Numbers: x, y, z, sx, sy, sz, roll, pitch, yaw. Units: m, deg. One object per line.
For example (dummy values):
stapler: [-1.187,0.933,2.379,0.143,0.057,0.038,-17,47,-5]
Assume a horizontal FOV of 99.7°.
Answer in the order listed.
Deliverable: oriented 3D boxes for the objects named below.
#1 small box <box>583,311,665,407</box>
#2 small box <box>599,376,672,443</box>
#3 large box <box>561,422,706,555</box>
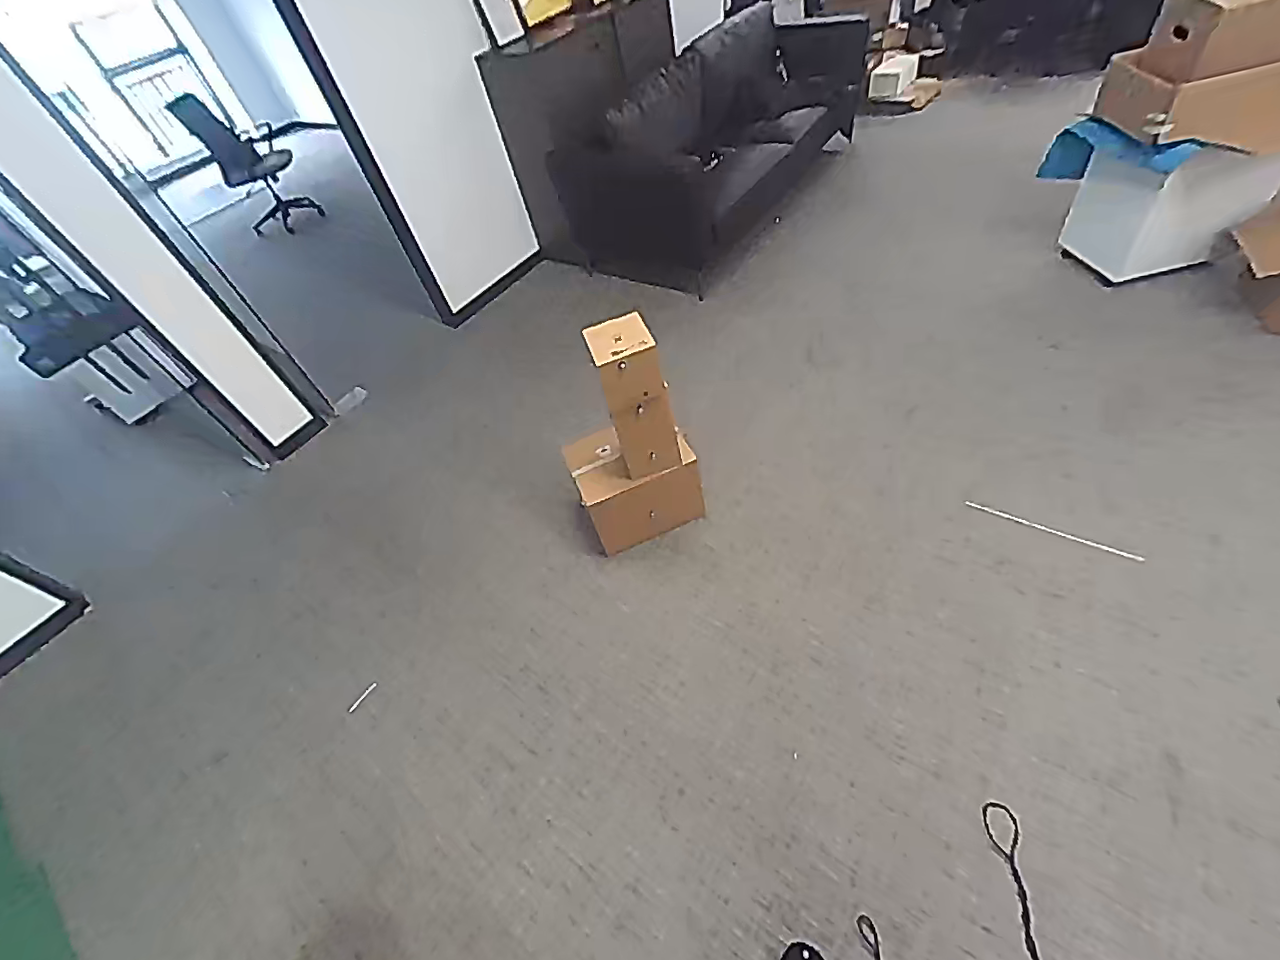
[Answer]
small box: [-0.042,-0.332,1.495,0.168,0.176,0.179,-21,49,-2]
small box: [-0.010,-0.242,1.629,0.179,0.176,0.168,-22,50,-3]
large box: [-0.018,0.005,1.965,0.408,0.320,0.320,-24,48,-6]
